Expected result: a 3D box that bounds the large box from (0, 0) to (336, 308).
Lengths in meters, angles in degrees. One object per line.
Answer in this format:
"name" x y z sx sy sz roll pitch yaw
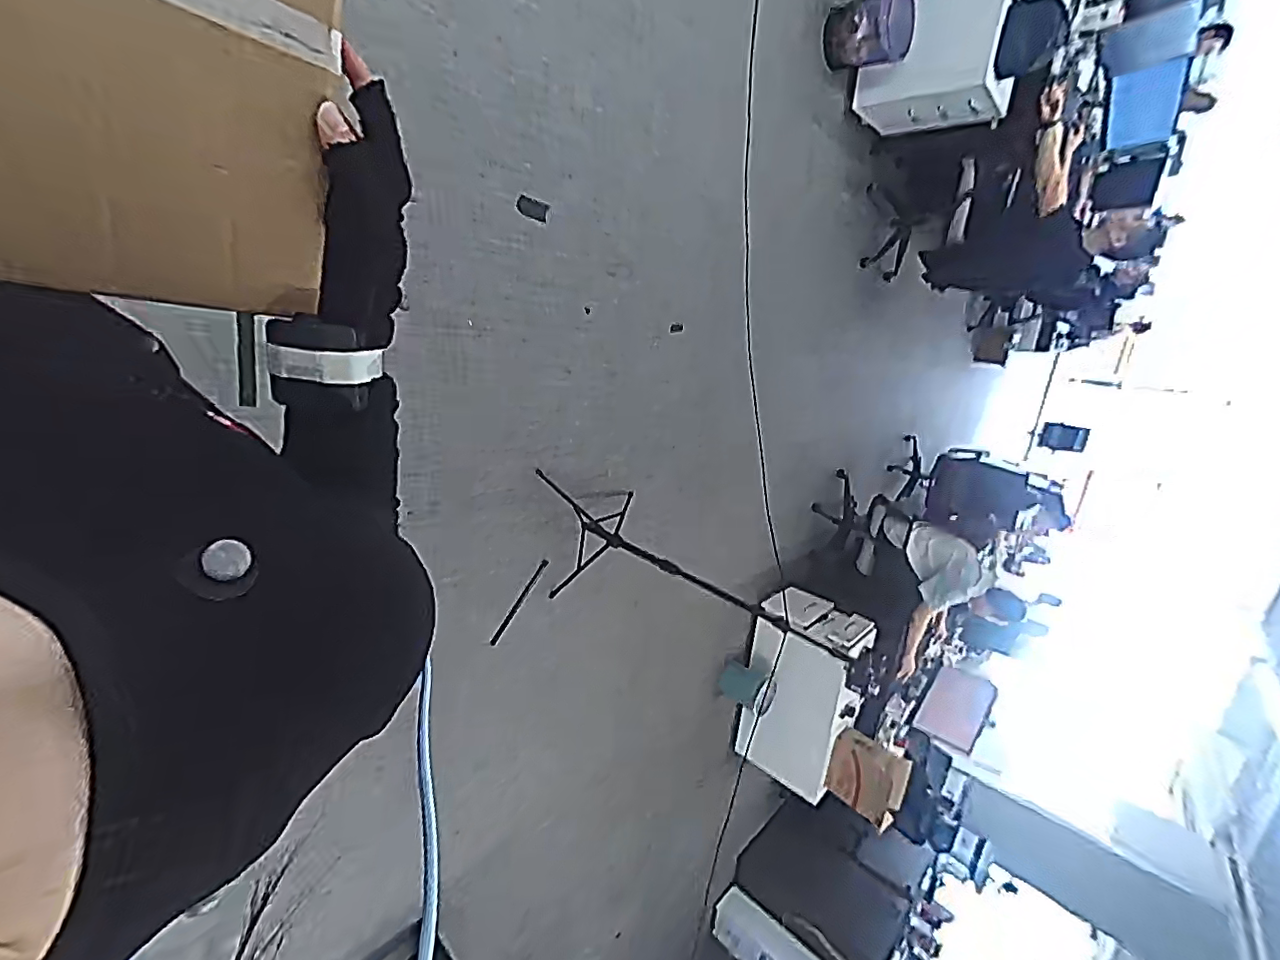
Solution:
"large box" -0.420 -0.308 0.264 0.408 0.320 0.320 -7 126 -47
